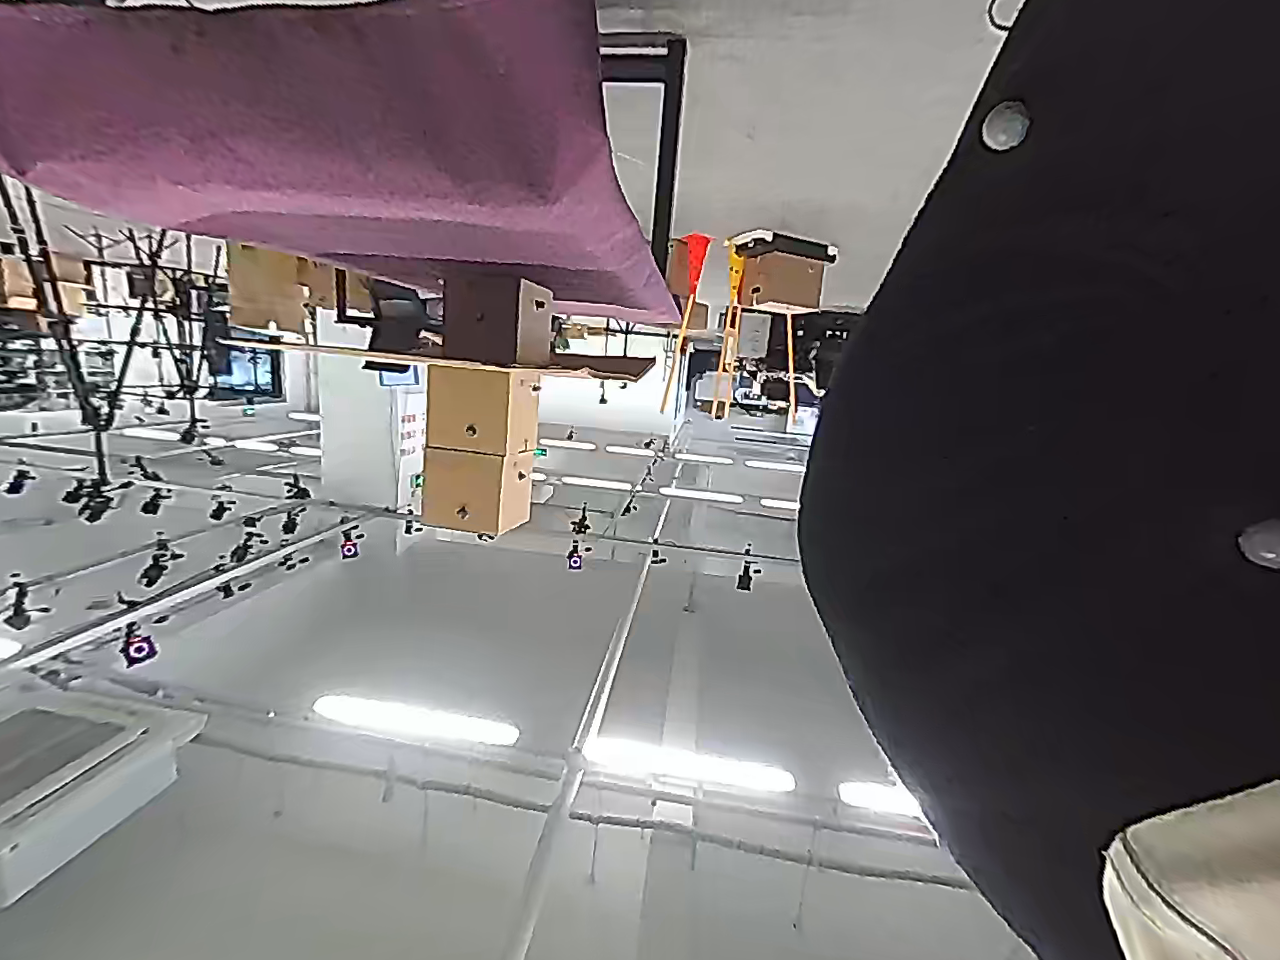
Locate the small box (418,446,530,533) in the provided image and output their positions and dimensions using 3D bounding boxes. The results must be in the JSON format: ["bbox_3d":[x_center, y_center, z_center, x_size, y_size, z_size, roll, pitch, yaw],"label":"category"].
[{"bbox_3d":[-0.348,0.004,1.155,0.179,0.176,0.168,6,-171,10],"label":"small box"}]

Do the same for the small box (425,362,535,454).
[{"bbox_3d":[-0.326,-0.154,1.125,0.179,0.176,0.168,7,-170,9],"label":"small box"}]
